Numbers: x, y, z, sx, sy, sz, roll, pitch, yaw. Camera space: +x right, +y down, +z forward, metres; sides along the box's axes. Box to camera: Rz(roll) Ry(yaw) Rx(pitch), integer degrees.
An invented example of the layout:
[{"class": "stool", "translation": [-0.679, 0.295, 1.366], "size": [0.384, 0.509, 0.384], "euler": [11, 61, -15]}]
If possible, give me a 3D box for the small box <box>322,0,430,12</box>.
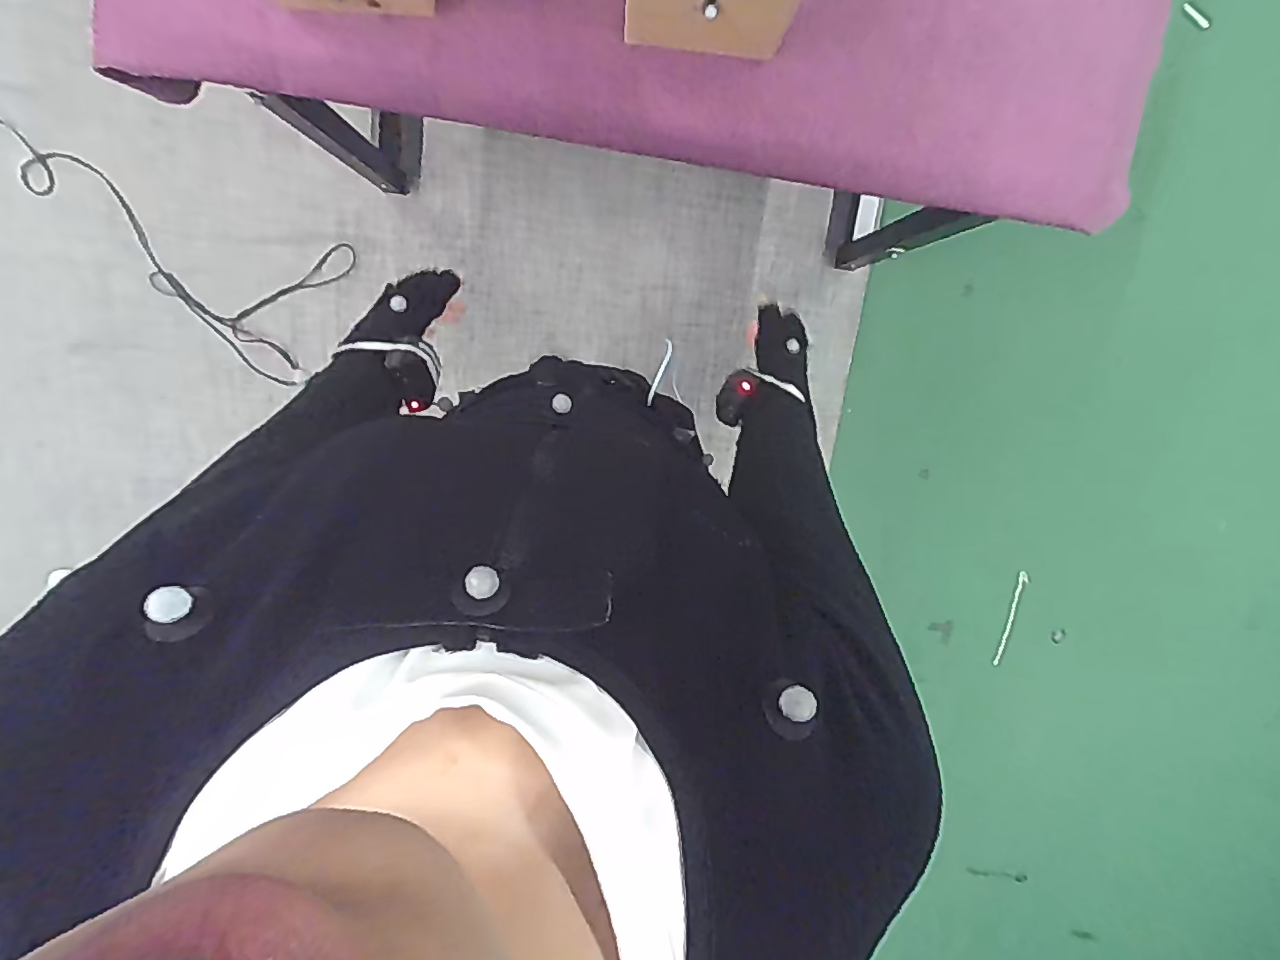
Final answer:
[{"class": "small box", "translation": [-0.304, -0.596, 0.504], "size": [0.168, 0.176, 0.179], "euler": [1, 103, -4]}]
